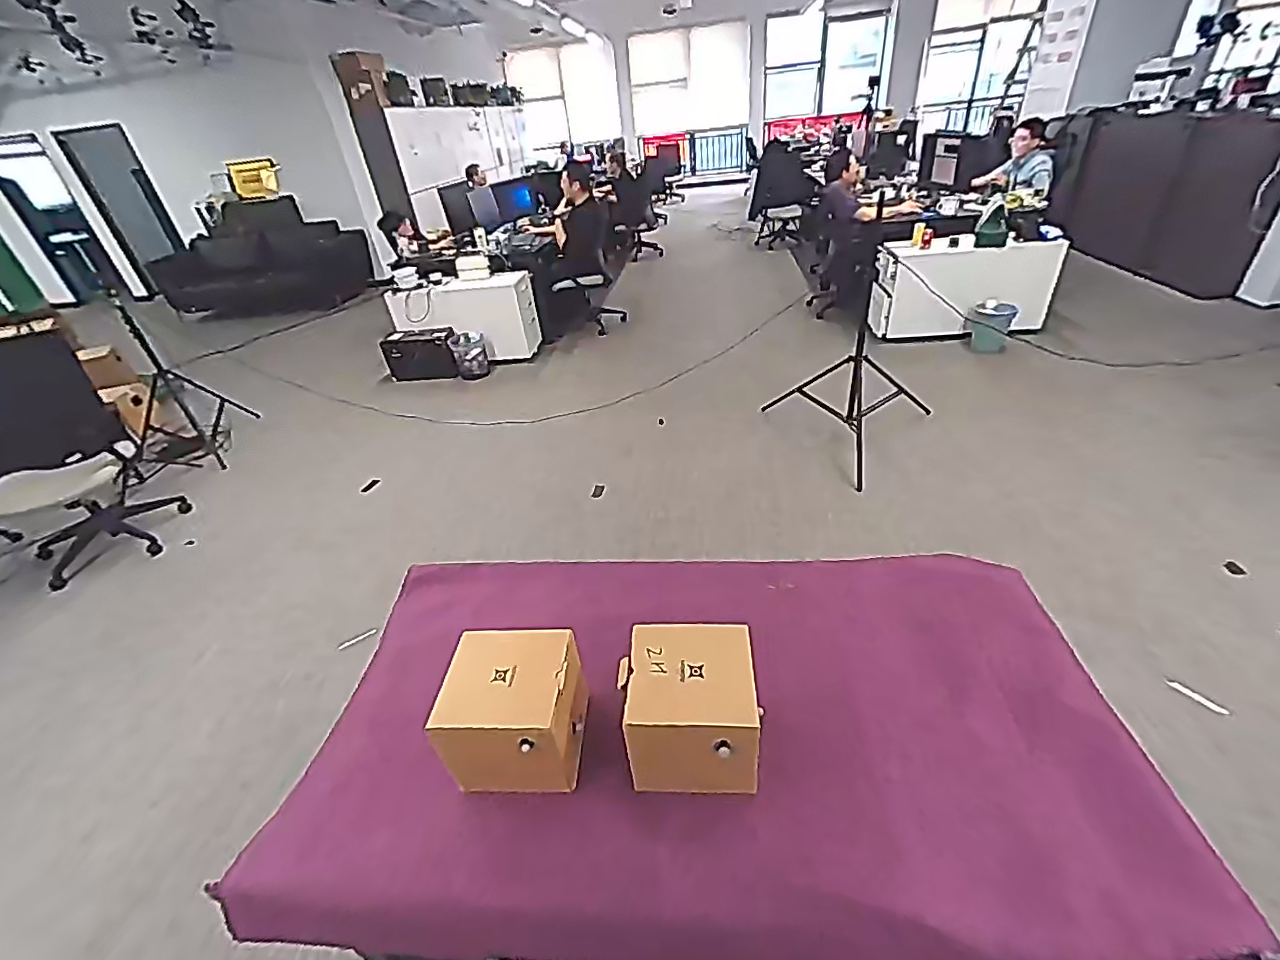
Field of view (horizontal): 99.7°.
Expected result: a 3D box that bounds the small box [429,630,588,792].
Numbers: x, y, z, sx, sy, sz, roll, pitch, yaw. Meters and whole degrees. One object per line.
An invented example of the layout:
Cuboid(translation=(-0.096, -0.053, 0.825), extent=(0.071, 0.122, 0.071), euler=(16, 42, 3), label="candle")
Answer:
Cuboid(translation=(-0.185, 0.349, 0.818), extent=(0.179, 0.176, 0.168), euler=(-3, 34, 5), label="small box")

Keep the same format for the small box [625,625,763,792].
Cuboid(translation=(0.080, 0.332, 0.791), extent=(0.179, 0.176, 0.168), euler=(-3, 33, 7), label="small box")
